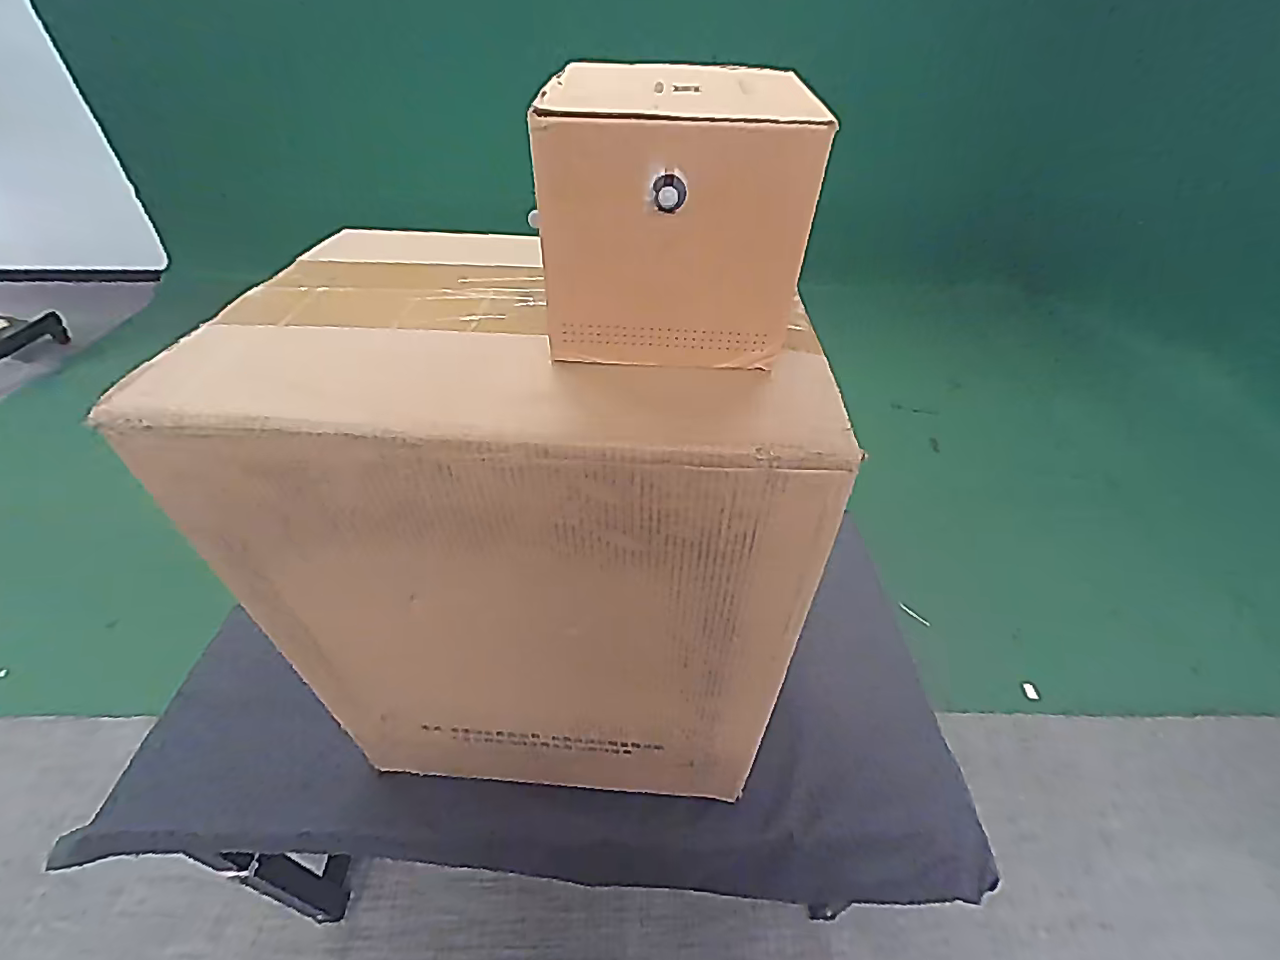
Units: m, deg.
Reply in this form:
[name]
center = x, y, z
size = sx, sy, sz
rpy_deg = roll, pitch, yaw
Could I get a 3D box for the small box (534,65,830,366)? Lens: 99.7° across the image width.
[small box]
center = 0.025, -0.205, 0.424
size = 0.179, 0.176, 0.168
rpy_deg = 4, 45, 0
